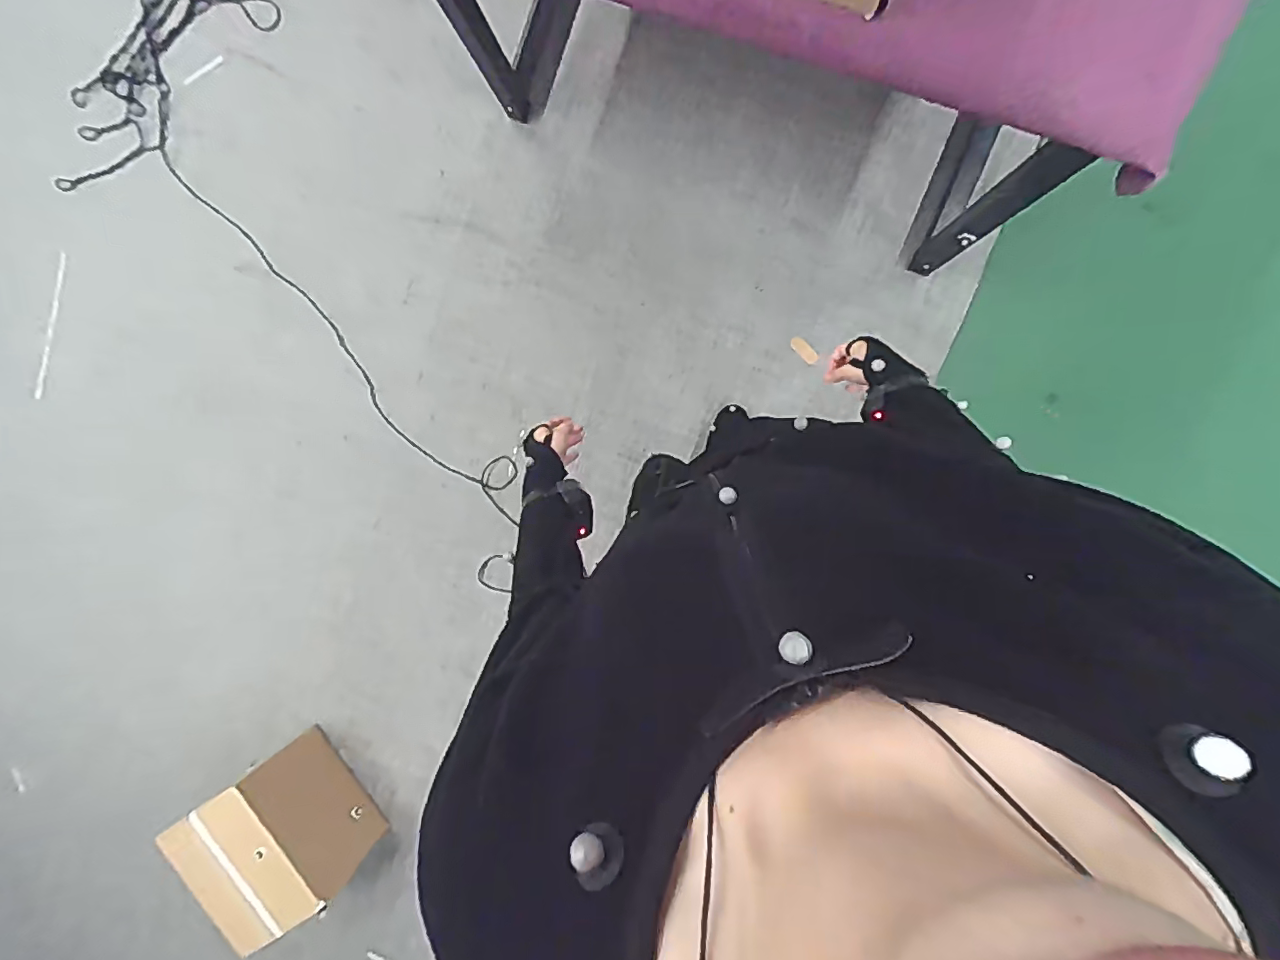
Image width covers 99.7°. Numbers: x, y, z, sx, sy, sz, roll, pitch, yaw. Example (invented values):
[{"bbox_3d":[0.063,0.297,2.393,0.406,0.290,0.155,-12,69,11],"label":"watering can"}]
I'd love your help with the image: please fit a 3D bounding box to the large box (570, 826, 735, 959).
[{"bbox_3d":[0.030,1.222,1.483,0.408,0.320,0.320,7,97,5],"label":"large box"}]
